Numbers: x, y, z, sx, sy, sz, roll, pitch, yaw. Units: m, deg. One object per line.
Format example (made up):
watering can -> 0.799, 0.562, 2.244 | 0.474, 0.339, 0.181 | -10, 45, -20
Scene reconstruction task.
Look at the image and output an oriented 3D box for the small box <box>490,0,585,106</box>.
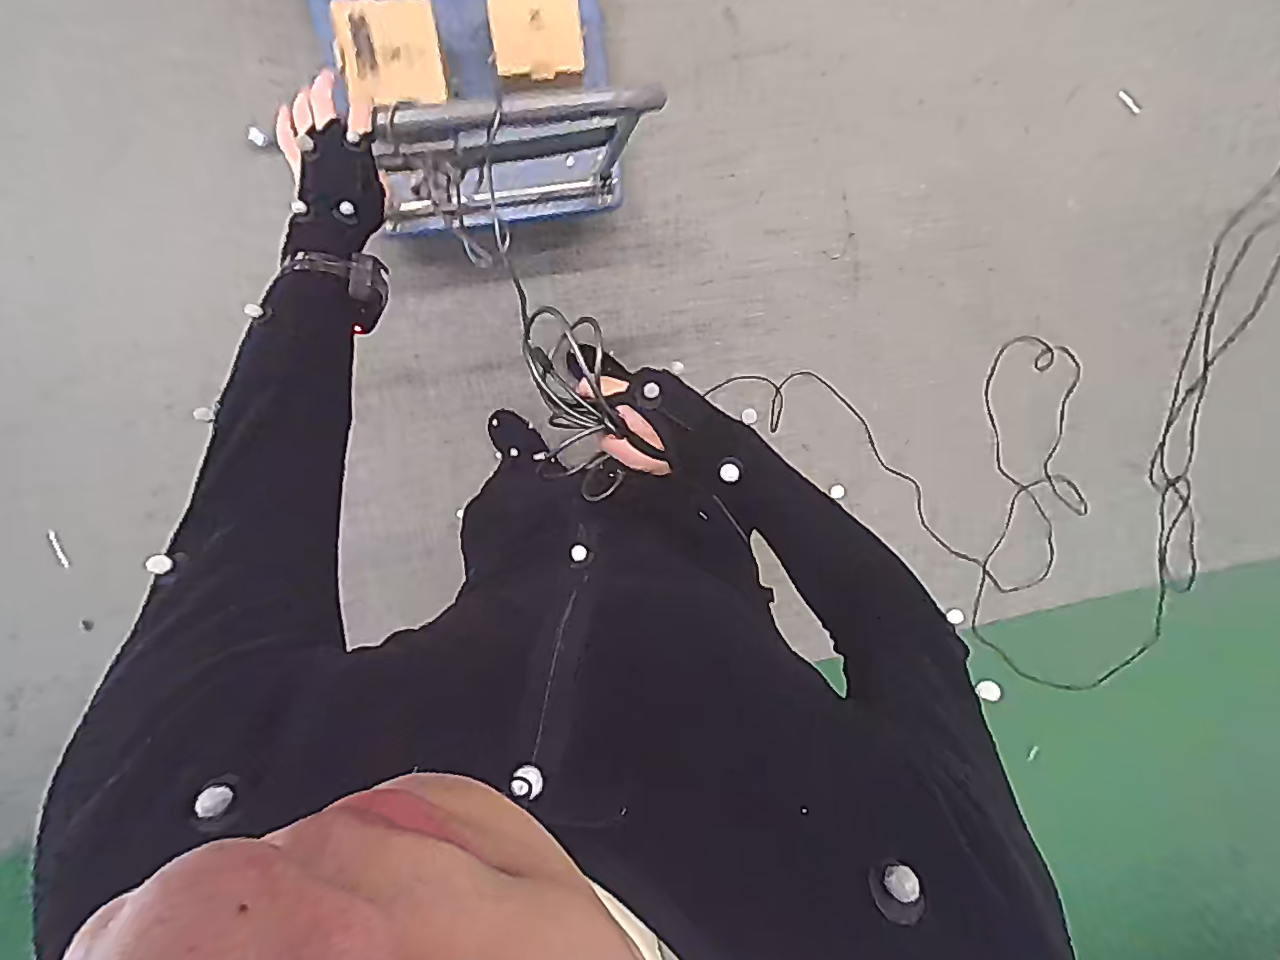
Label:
small box -> -0.206, -0.882, 1.080 | 0.168, 0.176, 0.179 | -8, 108, -6
